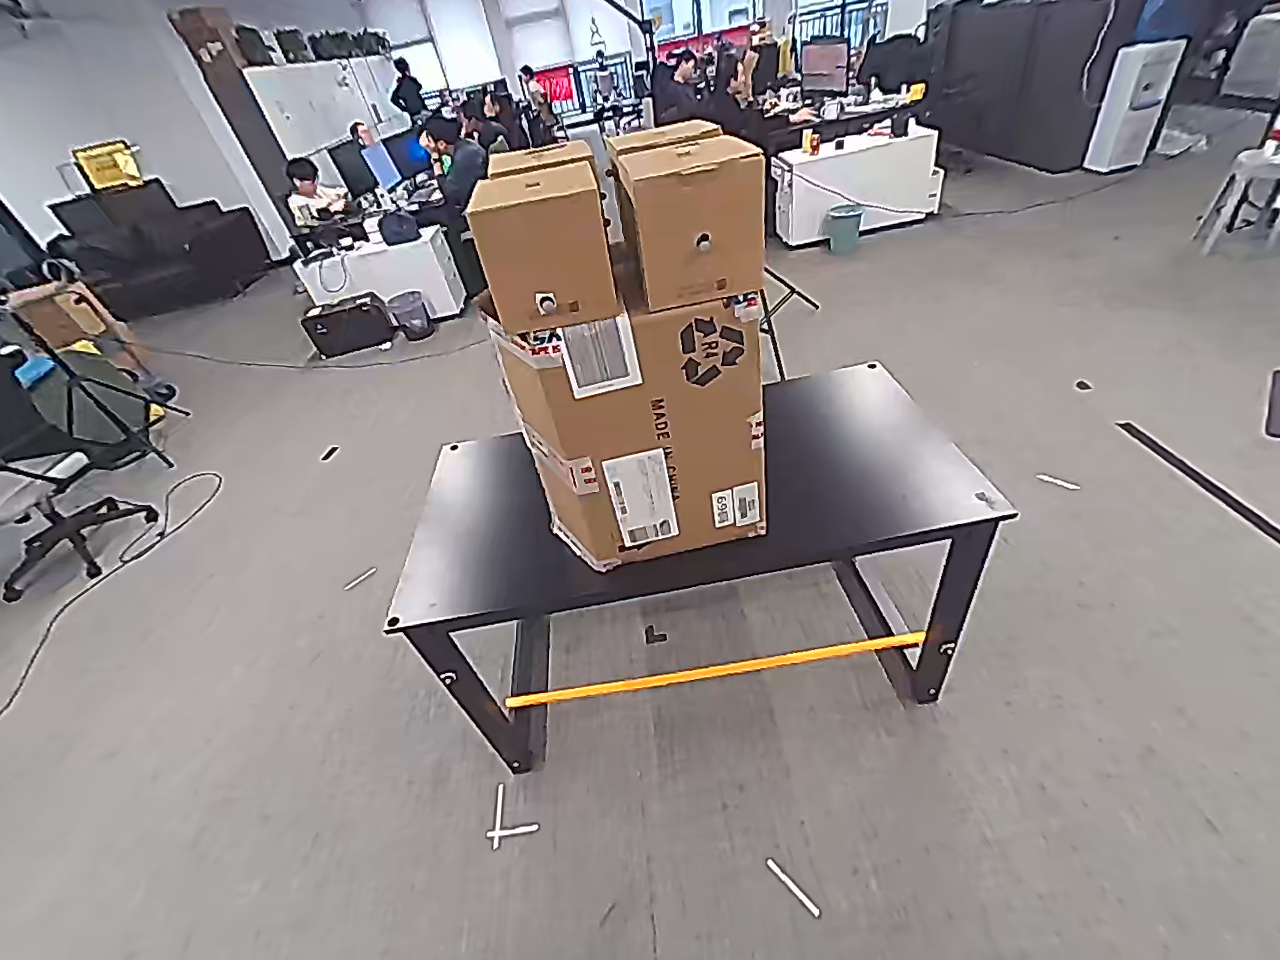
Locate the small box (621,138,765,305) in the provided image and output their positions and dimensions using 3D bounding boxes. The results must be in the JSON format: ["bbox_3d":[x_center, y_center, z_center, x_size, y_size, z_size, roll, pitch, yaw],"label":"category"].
[{"bbox_3d":[0.073,-0.359,0.763,0.168,0.176,0.179,-10,40,-1],"label":"small box"}]
